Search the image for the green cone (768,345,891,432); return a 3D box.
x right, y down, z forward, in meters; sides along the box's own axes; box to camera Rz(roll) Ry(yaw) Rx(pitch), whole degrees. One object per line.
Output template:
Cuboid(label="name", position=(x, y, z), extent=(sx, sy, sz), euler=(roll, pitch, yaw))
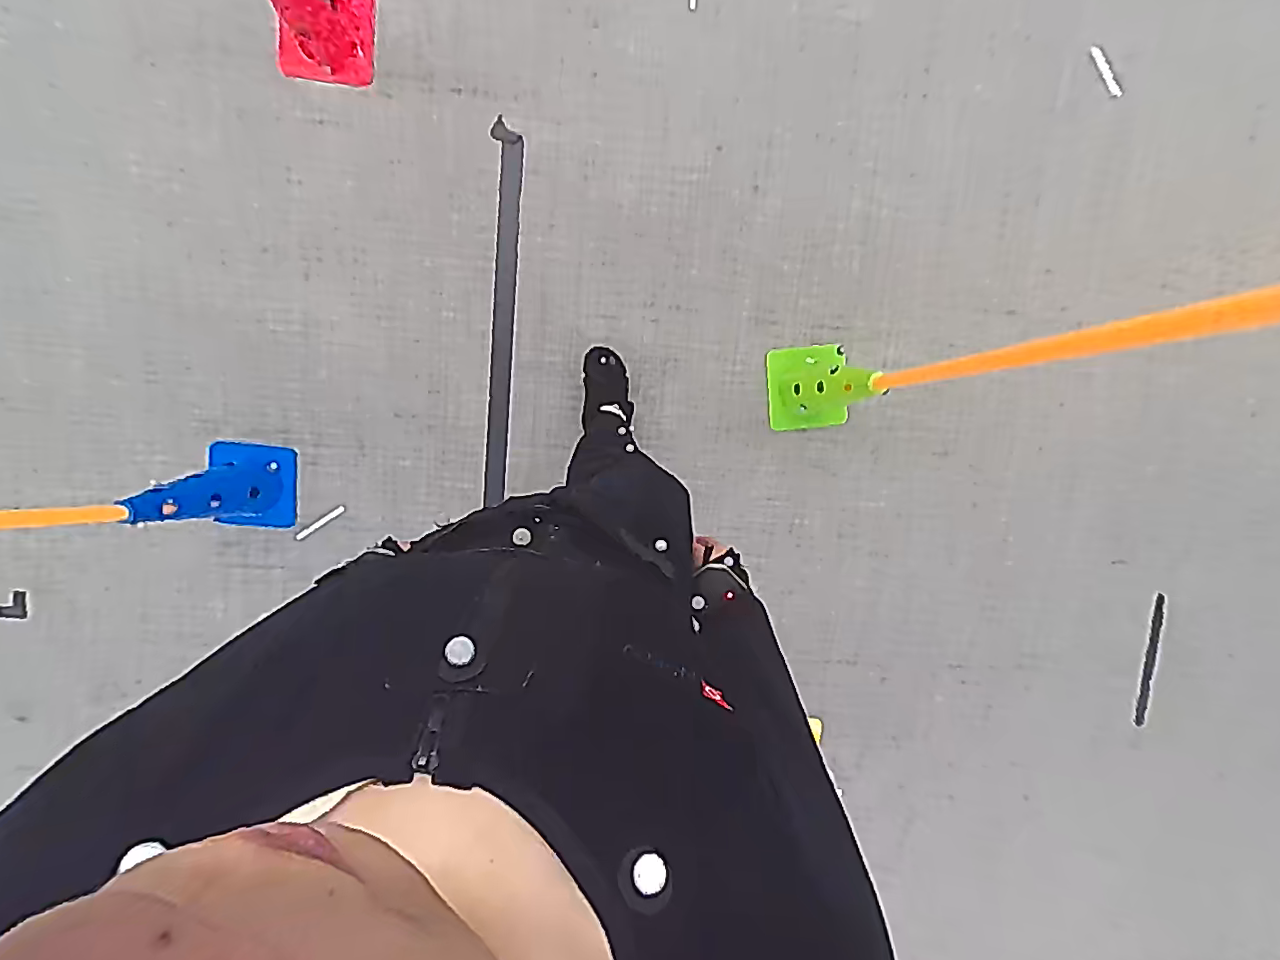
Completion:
Cuboid(label="green cone", position=(0.428, -0.200, 1.169), extent=(0.200, 0.368, 0.202), euler=(-6, 99, -2))

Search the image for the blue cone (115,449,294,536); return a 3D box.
Cuboid(label="blue cone", position=(-0.914, 0.047, 1.129), extent=(0.193, 0.380, 0.192), euler=(7, 97, -4))
